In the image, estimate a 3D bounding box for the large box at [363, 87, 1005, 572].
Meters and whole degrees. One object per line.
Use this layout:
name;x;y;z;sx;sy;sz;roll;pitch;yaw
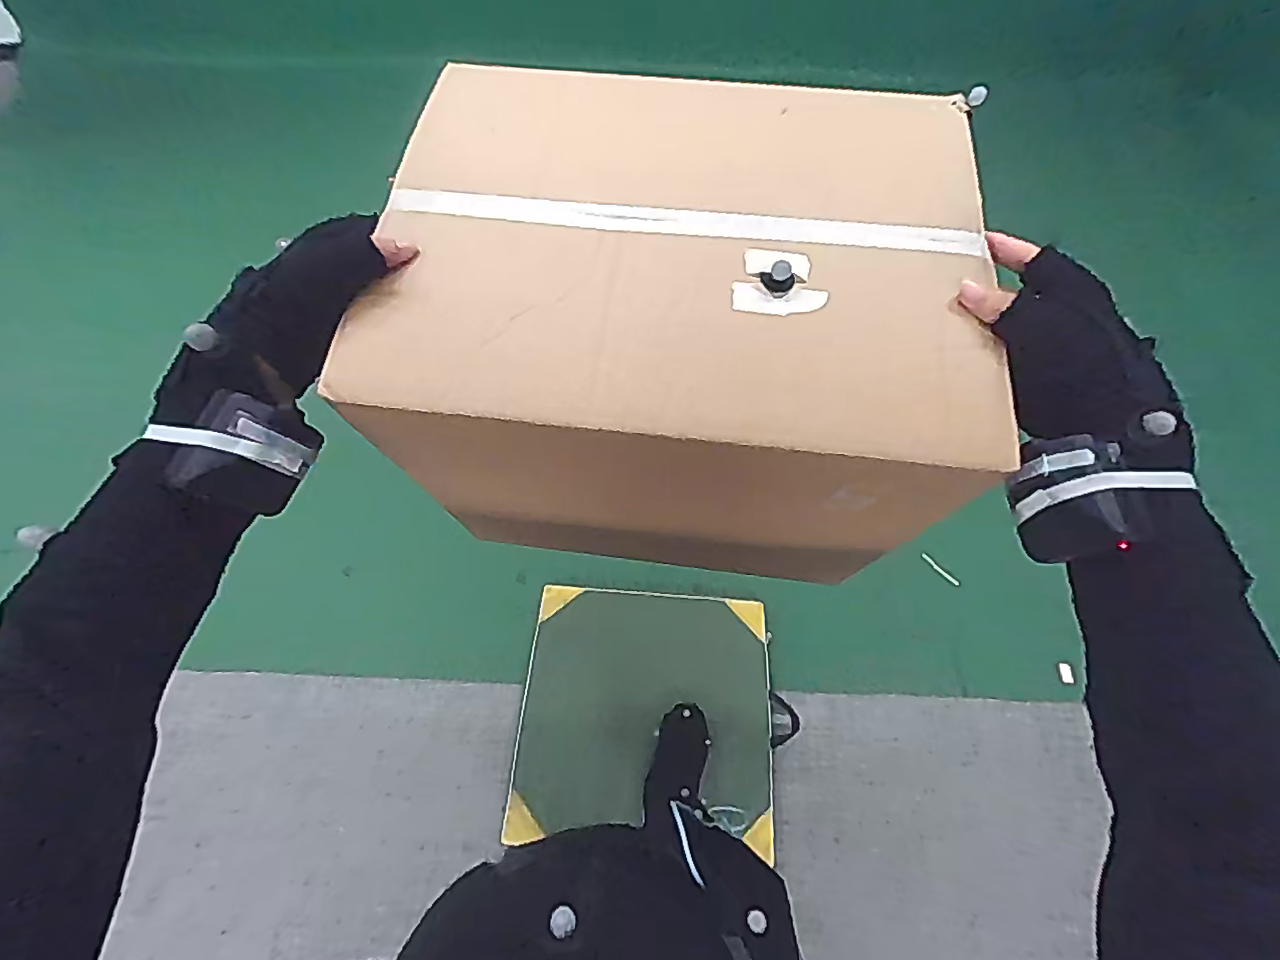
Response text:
large box;0.036;-0.112;0.523;0.408;0.320;0.320;7;68;2
